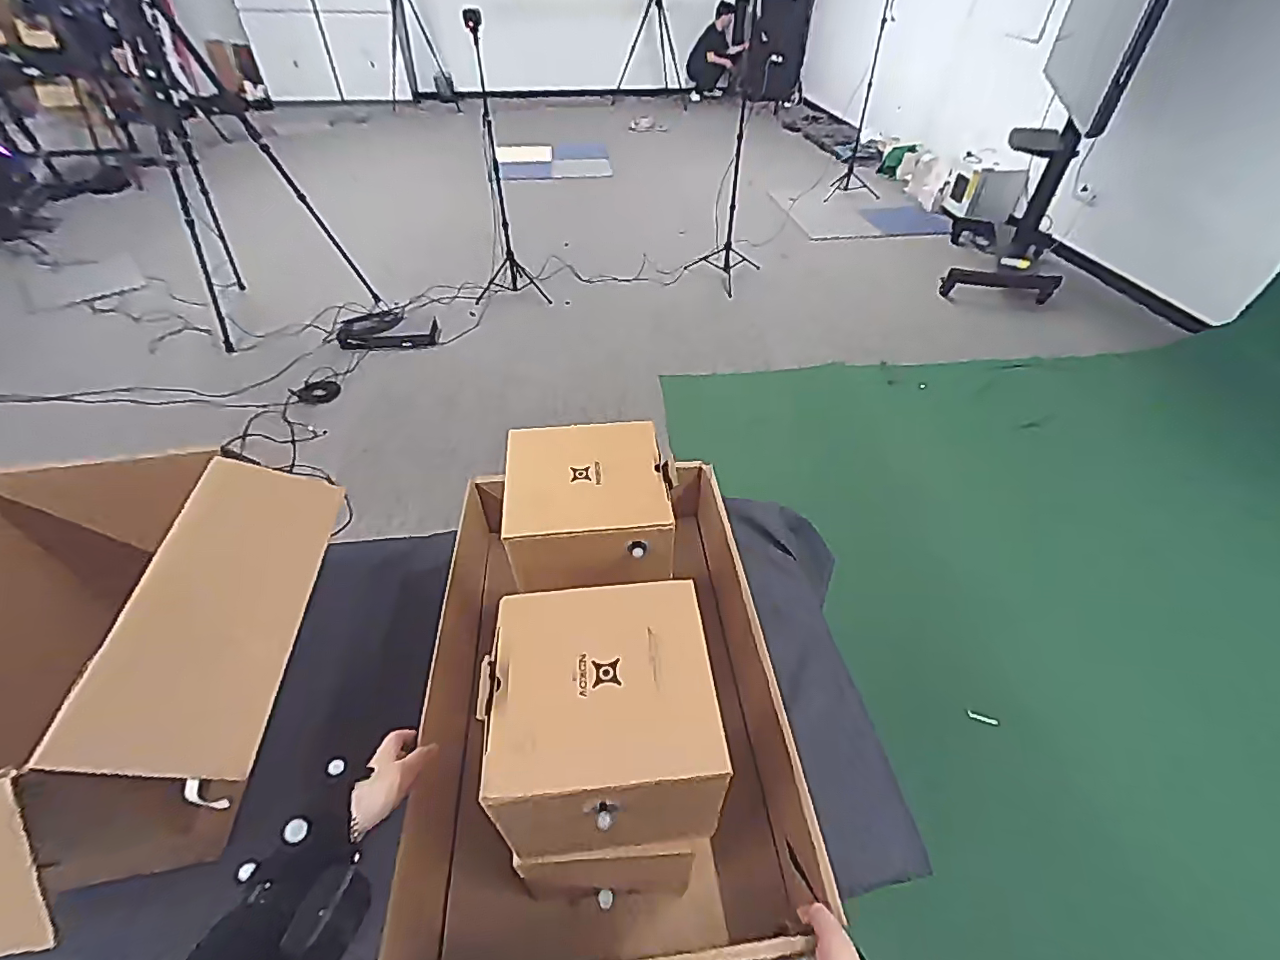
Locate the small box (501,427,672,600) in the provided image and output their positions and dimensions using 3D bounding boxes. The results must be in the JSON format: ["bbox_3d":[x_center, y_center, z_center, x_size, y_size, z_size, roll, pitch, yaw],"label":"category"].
[{"bbox_3d":[-0.060,0.057,0.651,0.179,0.176,0.168,-4,46,-5],"label":"small box"}]

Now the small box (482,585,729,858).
[{"bbox_3d":[-0.028,0.216,0.483,0.179,0.176,0.168,-4,44,-4],"label":"small box"}]
